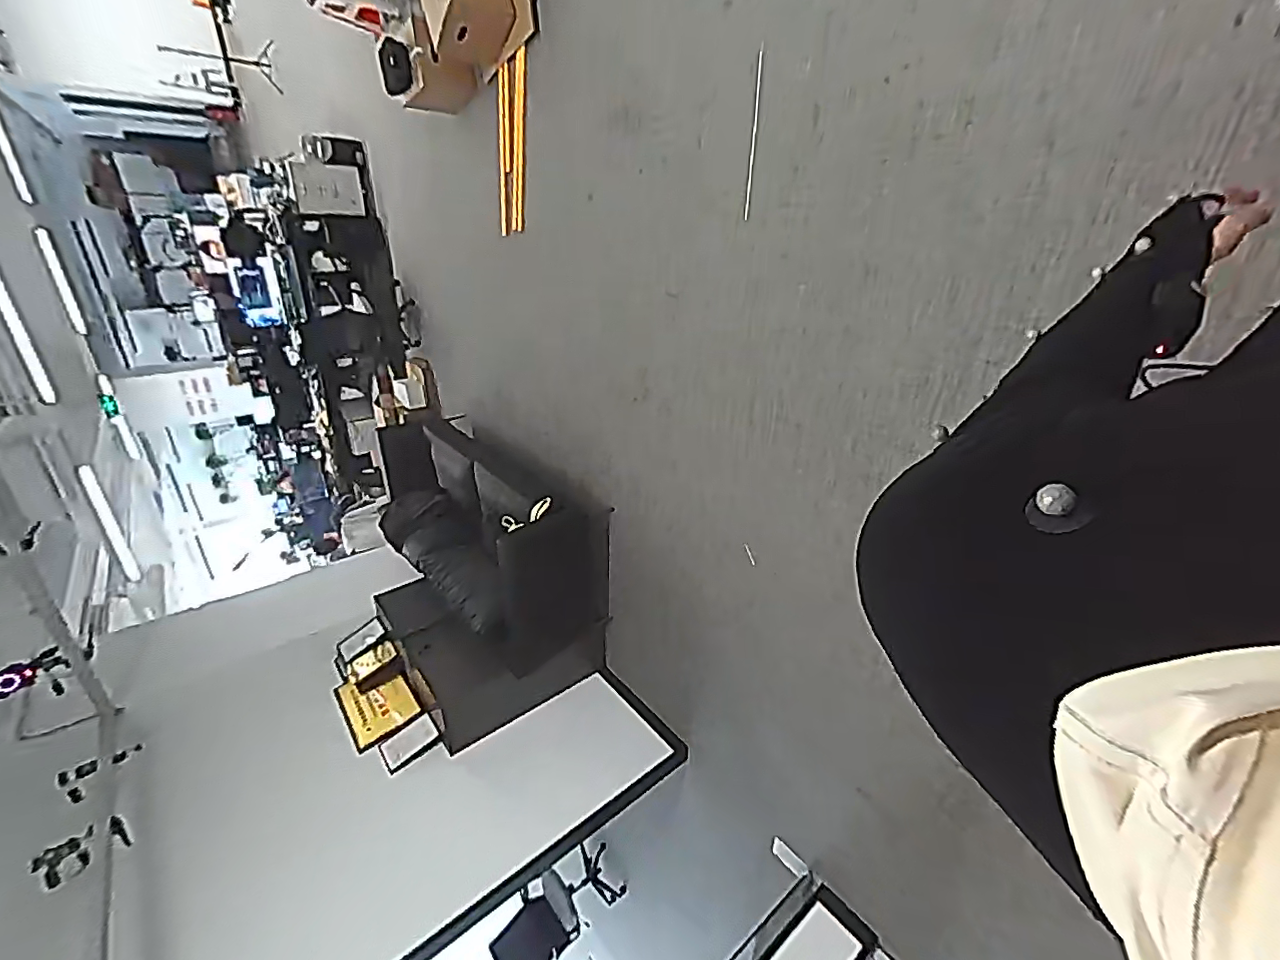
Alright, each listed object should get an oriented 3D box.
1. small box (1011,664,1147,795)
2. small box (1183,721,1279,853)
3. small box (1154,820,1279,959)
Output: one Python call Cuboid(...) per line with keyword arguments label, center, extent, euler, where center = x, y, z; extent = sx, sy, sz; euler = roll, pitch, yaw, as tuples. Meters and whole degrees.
Cuboid(label="small box", center=(1.004, 0.563, 1.236), extent=(0.168, 0.176, 0.179), euler=(37, 133, 39))
Cuboid(label="small box", center=(1.316, 0.656, 1.140), extent=(0.168, 0.176, 0.179), euler=(35, 132, 41))
Cuboid(label="small box", center=(1.066, 0.749, 0.949), extent=(0.168, 0.176, 0.179), euler=(35, 133, 41))
